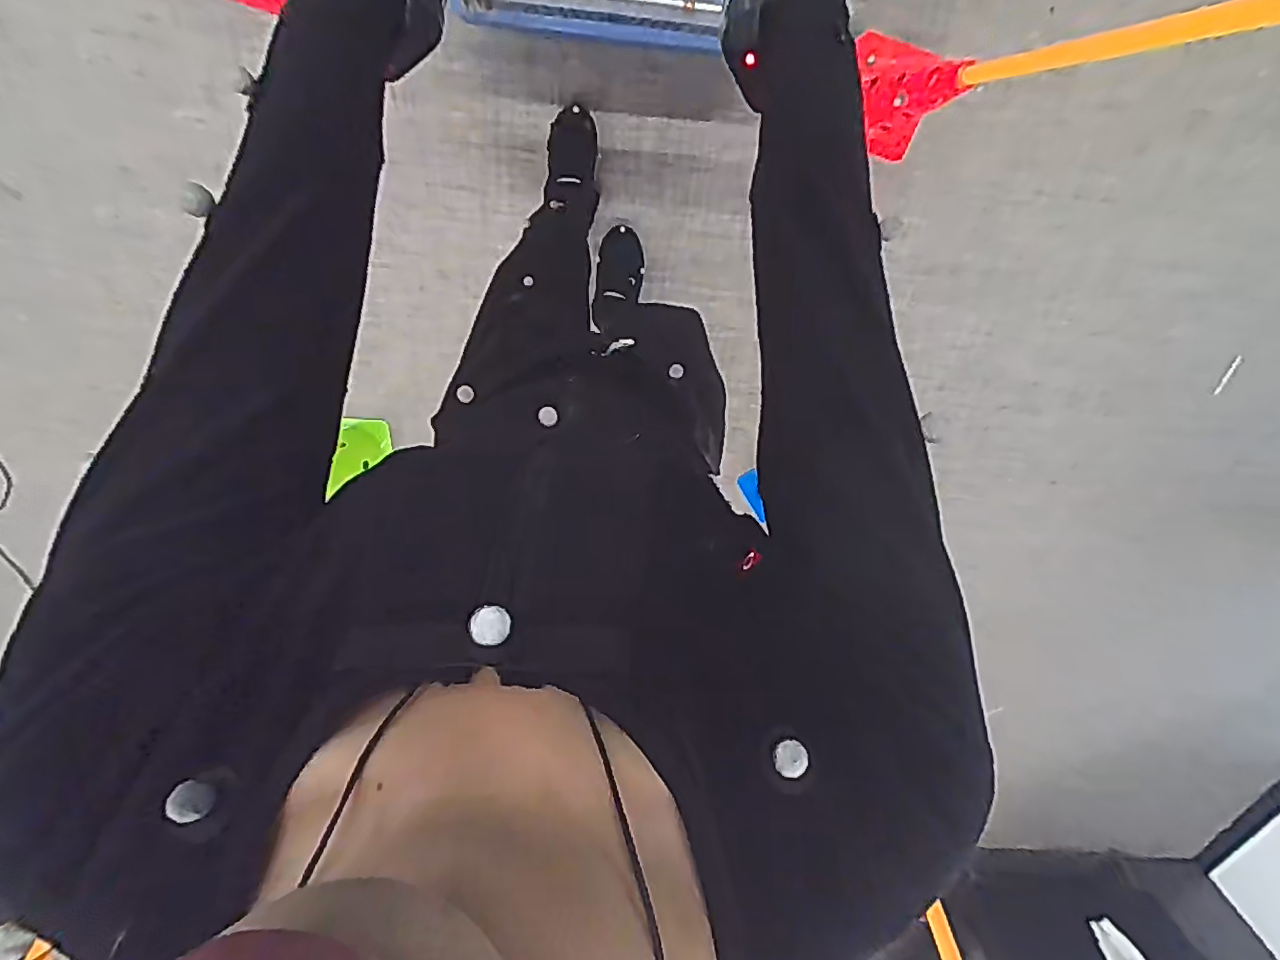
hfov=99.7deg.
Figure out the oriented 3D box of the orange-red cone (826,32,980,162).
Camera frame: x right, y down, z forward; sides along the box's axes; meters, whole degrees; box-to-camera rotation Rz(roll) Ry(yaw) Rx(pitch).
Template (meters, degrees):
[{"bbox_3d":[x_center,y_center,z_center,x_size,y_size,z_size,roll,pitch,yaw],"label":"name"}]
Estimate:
[{"bbox_3d":[0.521,-0.728,1.008,0.198,0.360,0.199,14,119,-8],"label":"orange-red cone"}]
